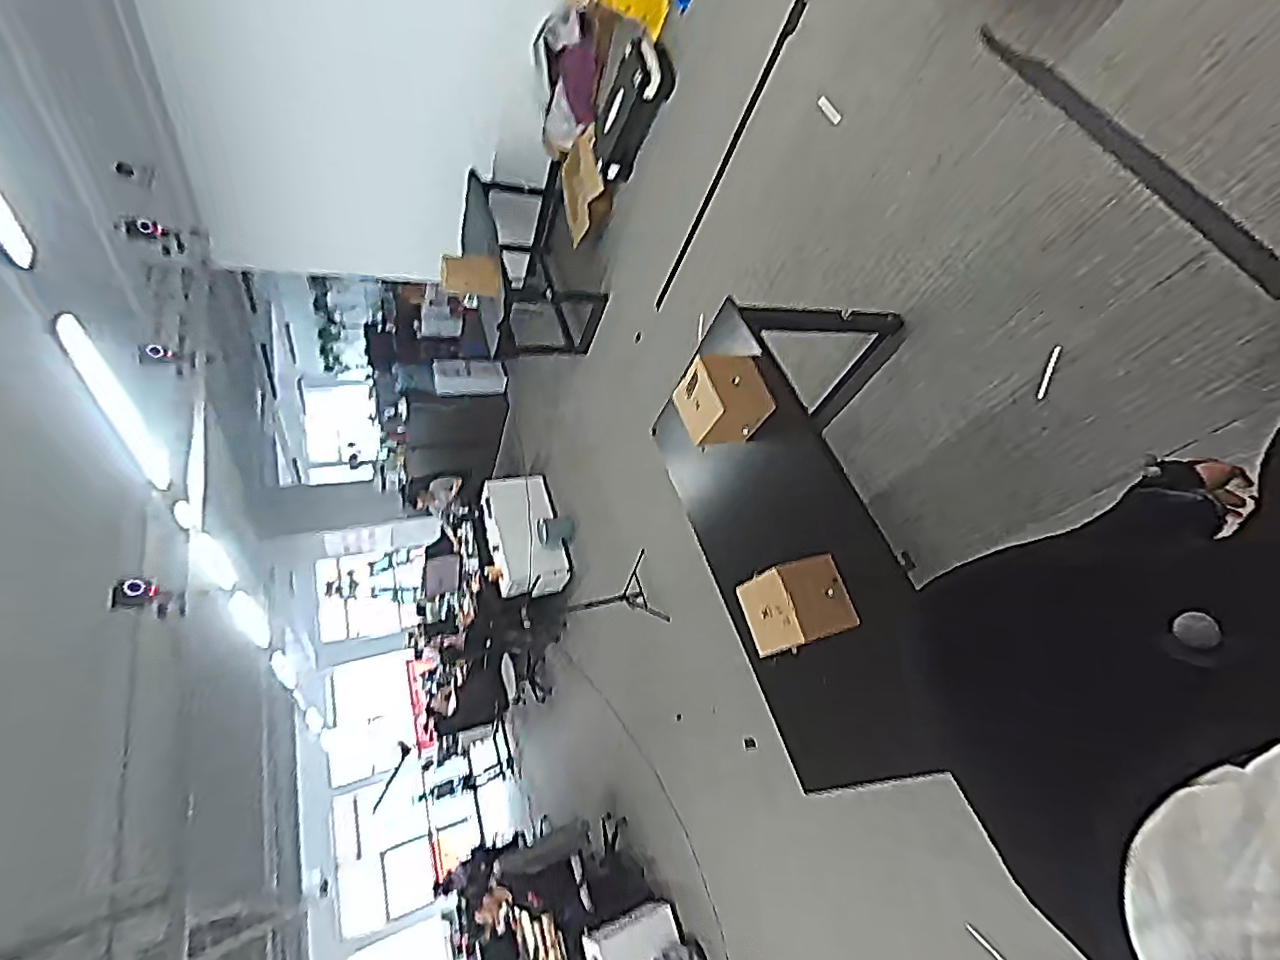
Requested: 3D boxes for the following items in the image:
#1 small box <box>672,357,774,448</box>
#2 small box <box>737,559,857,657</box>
[{"bbox_3d":[0.215,-0.203,1.414,0.179,0.176,0.168,68,150,23],"label":"small box"},{"bbox_3d":[0.362,0.295,1.253,0.179,0.176,0.168,-51,52,54],"label":"small box"}]
